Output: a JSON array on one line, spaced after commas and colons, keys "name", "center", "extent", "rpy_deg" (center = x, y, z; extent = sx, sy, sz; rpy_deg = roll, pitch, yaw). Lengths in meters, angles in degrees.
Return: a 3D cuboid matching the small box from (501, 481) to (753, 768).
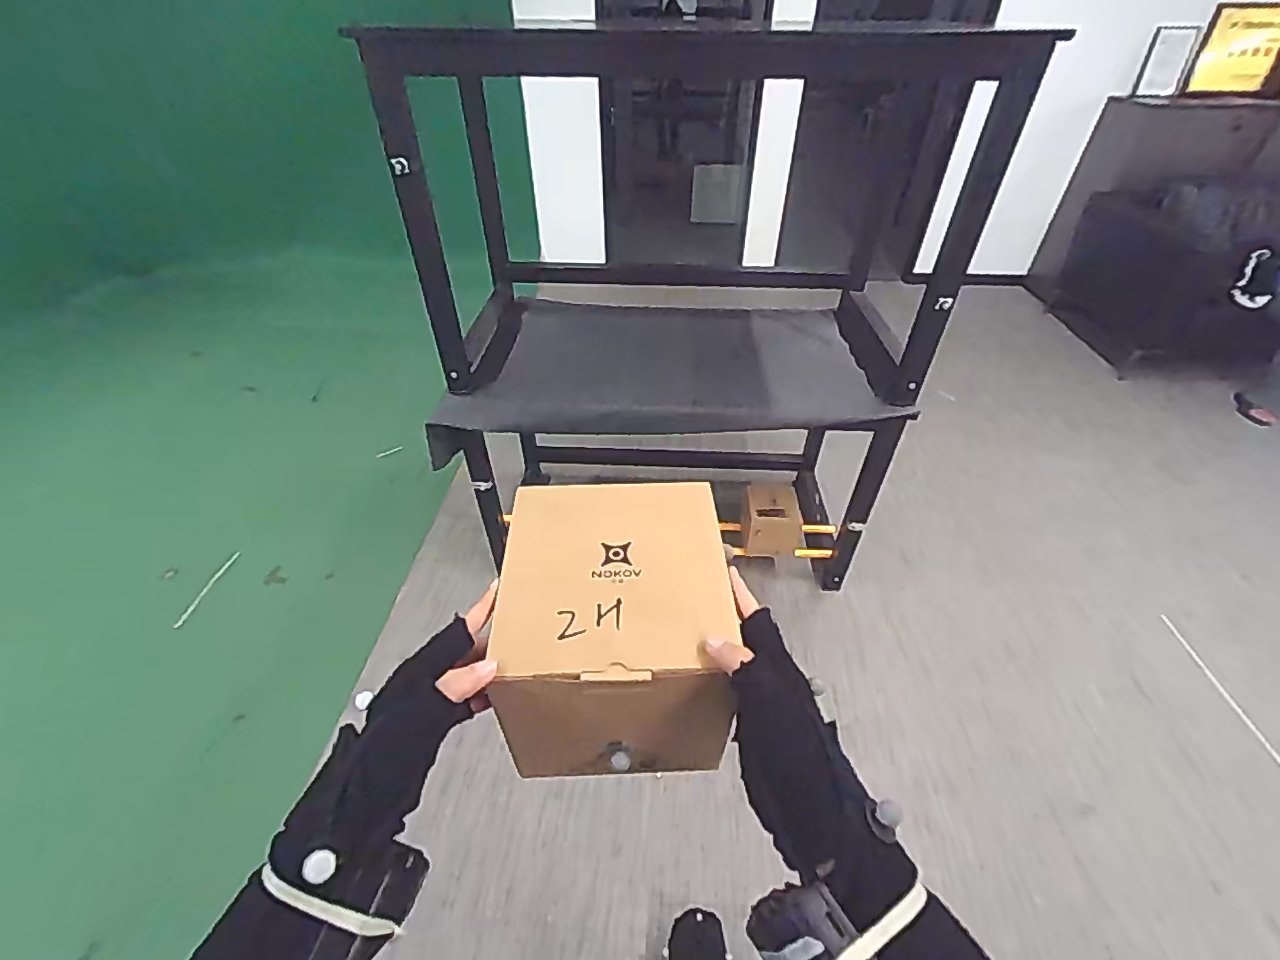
[{"name": "small box", "center": [-0.011, 0.119, 0.460], "extent": [0.168, 0.176, 0.179], "rpy_deg": [-1, 41, -2]}]
